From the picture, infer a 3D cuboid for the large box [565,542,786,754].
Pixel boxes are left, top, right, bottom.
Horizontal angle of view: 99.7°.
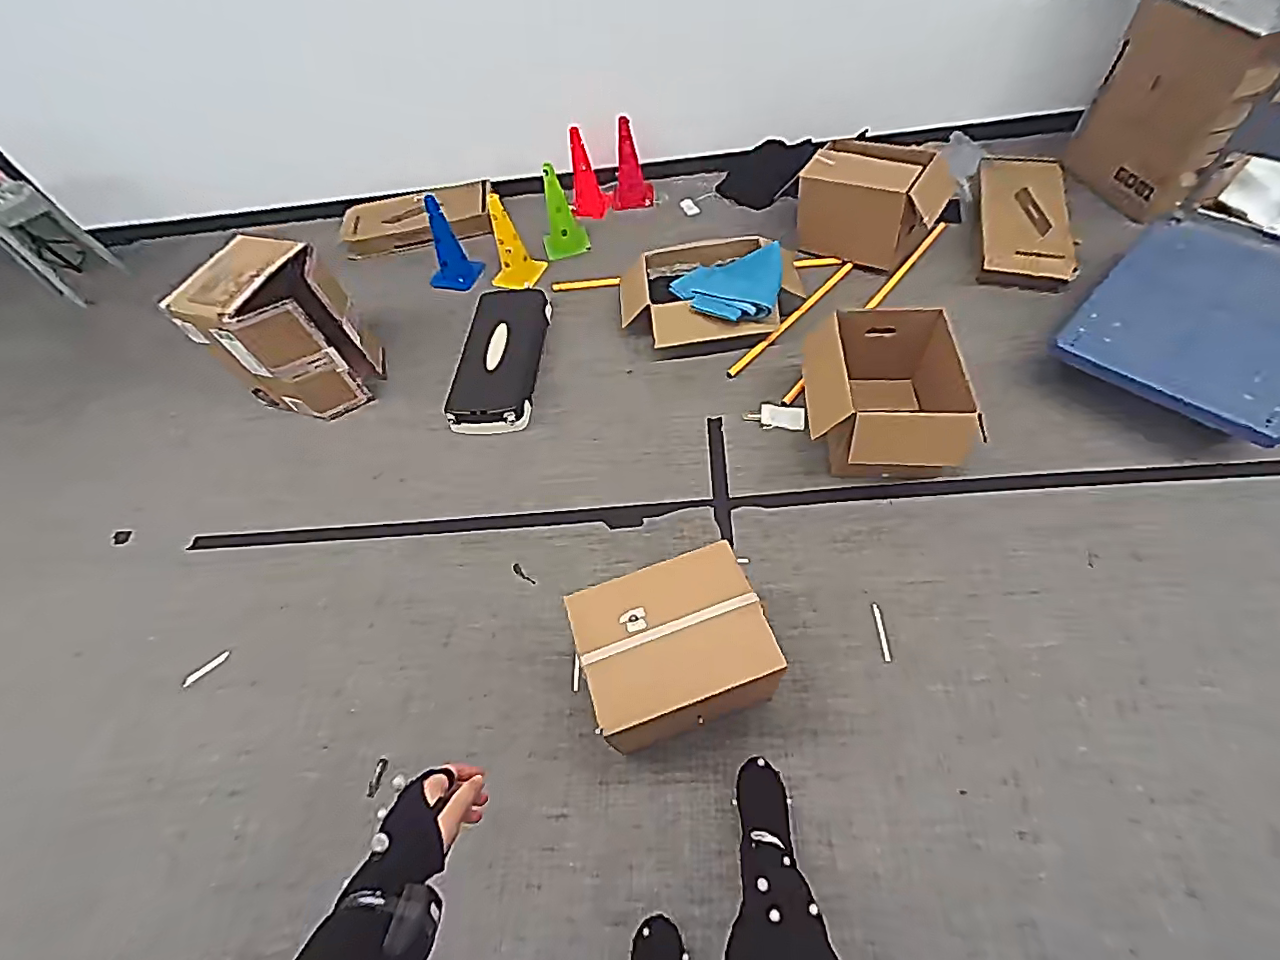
[{"bbox_3d":[0.082,0.405,1.283,0.408,0.320,0.320,-20,56,-5],"label":"large box"}]
